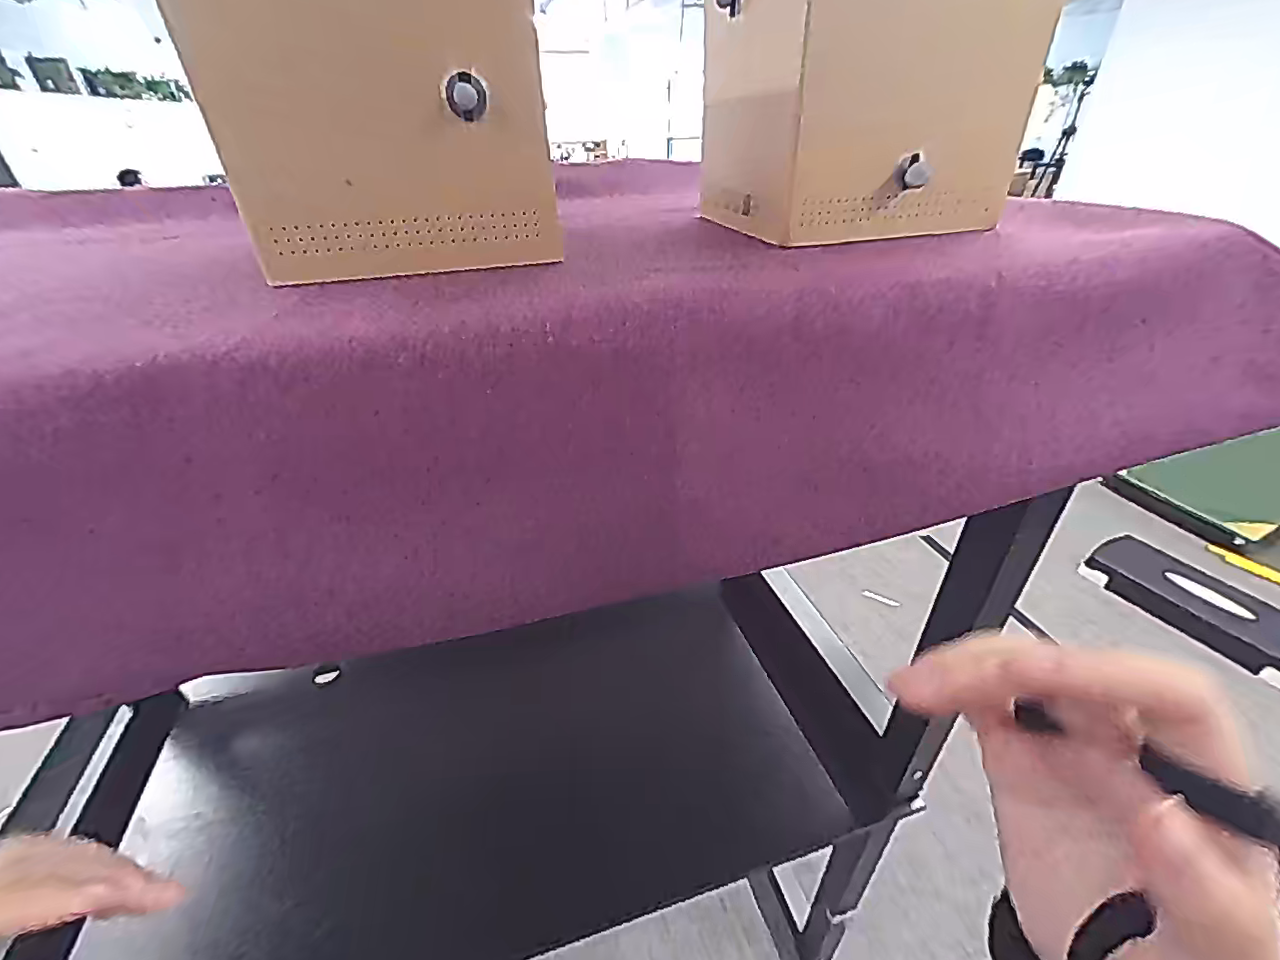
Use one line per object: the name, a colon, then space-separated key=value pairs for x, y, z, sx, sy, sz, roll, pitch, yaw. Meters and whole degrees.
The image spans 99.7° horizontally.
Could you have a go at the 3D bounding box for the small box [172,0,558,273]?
small box: x=-0.151 y=-0.243 z=0.352 sx=0.179 sy=0.176 sz=0.168 roll=-10 pitch=33 yaw=-11

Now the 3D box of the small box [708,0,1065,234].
small box: x=0.159 y=-0.287 z=0.396 sx=0.179 sy=0.176 sz=0.168 roll=-9 pitch=33 yaw=-11
